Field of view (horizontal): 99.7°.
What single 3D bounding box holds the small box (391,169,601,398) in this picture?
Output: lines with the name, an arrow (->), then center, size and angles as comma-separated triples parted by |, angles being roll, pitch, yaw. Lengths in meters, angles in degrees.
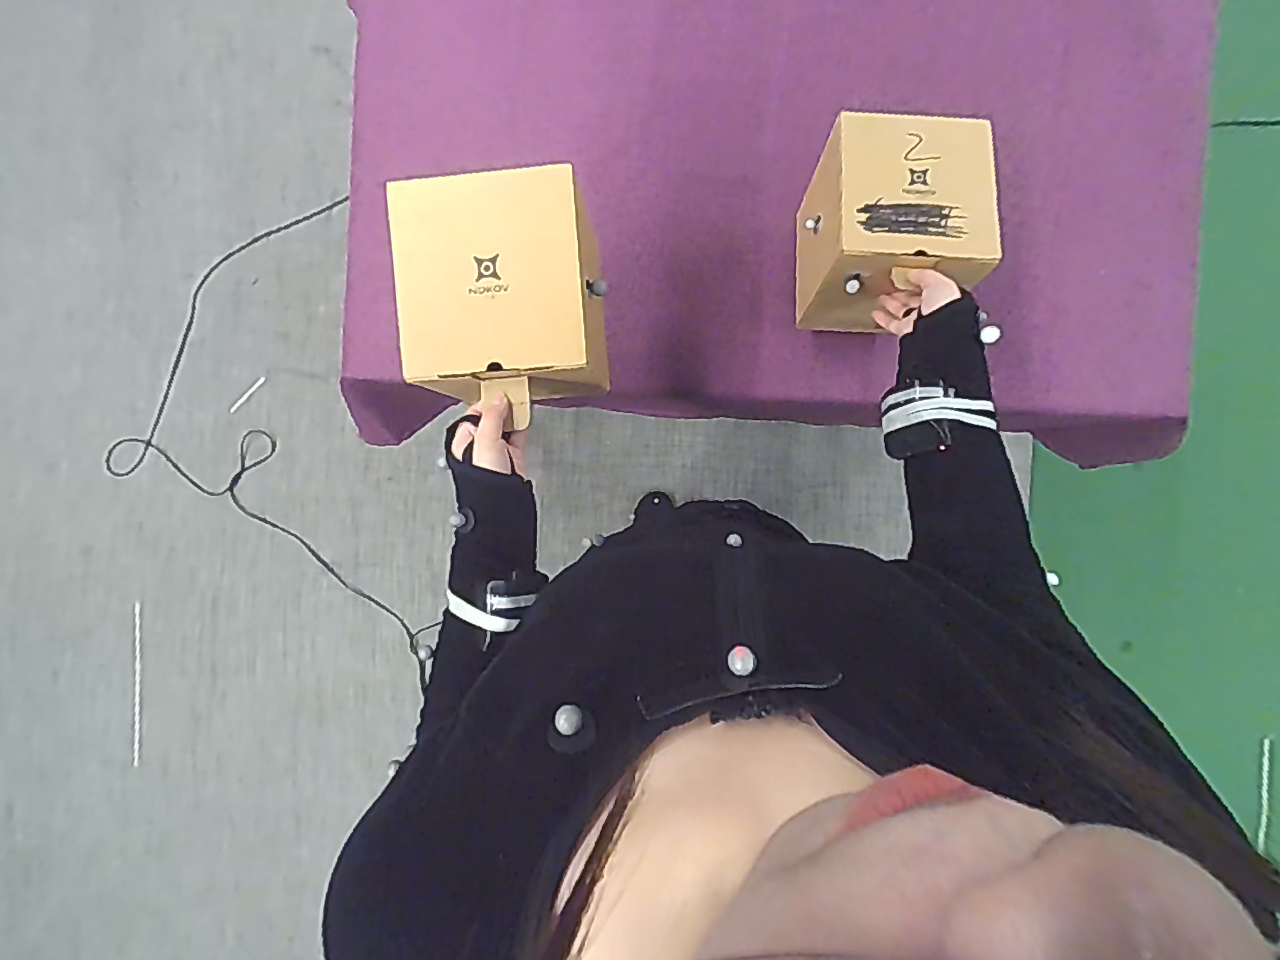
small box -> -0.134, -0.188, 0.564 | 0.168, 0.176, 0.179 | -4, 92, 3
